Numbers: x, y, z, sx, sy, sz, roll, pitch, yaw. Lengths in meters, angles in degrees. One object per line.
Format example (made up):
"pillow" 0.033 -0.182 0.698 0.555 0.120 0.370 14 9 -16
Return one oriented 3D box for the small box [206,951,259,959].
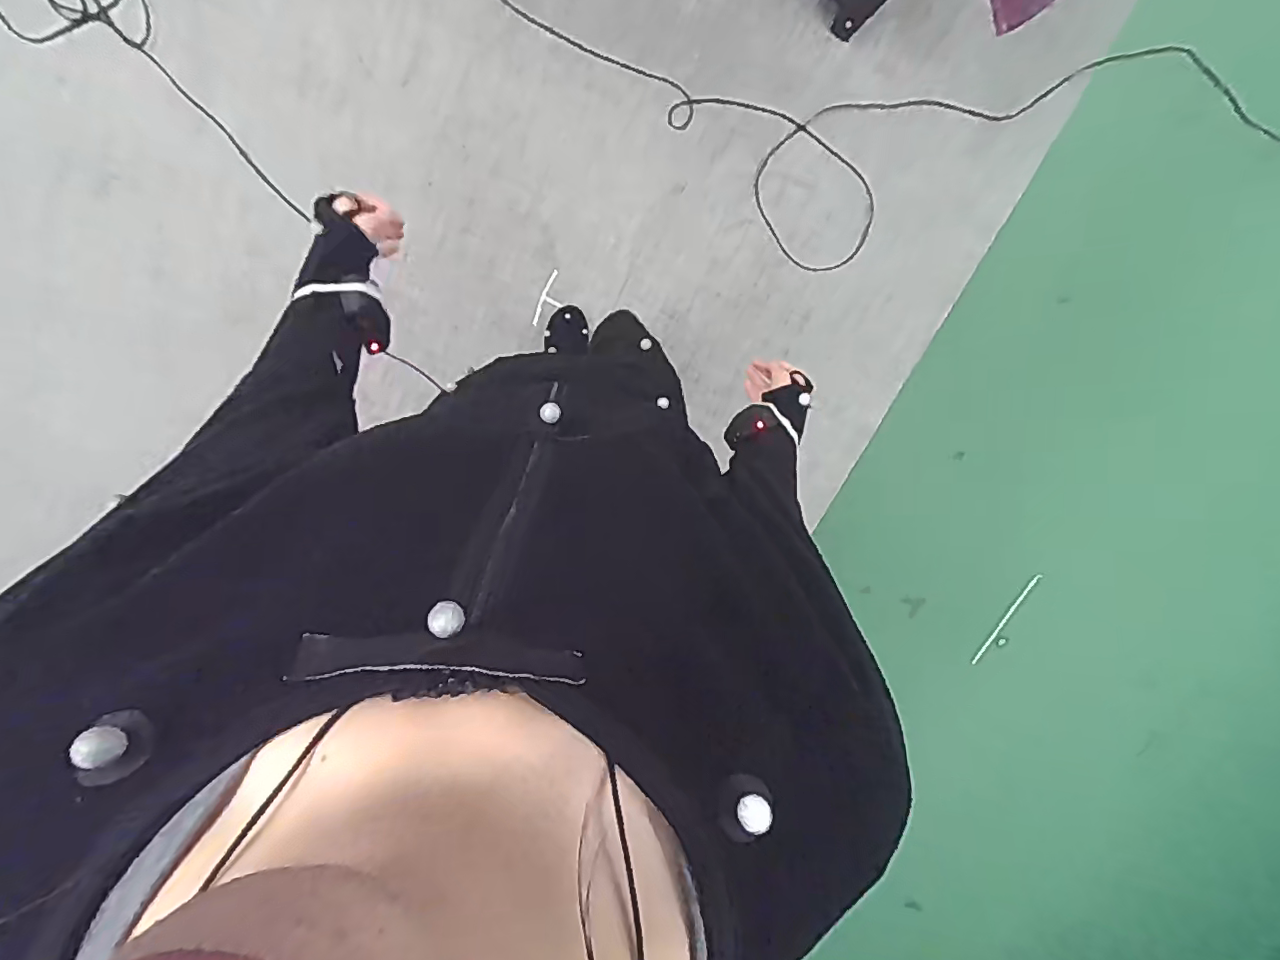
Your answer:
"small box" -0.834 1.082 1.064 0.179 0.176 0.168 25 104 -13
